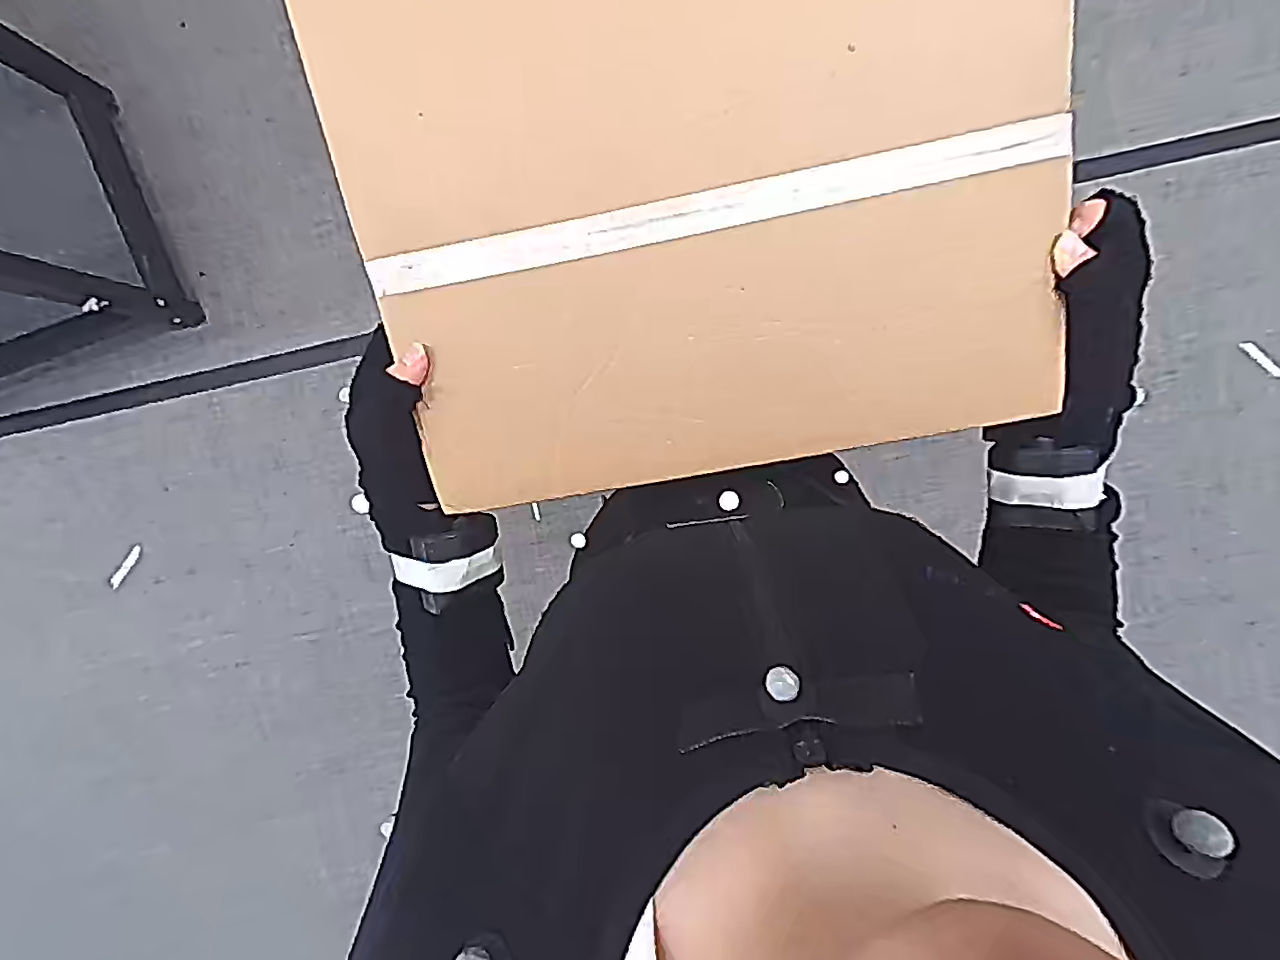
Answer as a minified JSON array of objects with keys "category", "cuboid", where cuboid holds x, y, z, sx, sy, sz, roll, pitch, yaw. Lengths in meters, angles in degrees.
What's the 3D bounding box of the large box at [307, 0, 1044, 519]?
[{"category":"large box","cuboid":[0.040,-0.194,0.468,0.408,0.320,0.320,-10,106,4]}]
